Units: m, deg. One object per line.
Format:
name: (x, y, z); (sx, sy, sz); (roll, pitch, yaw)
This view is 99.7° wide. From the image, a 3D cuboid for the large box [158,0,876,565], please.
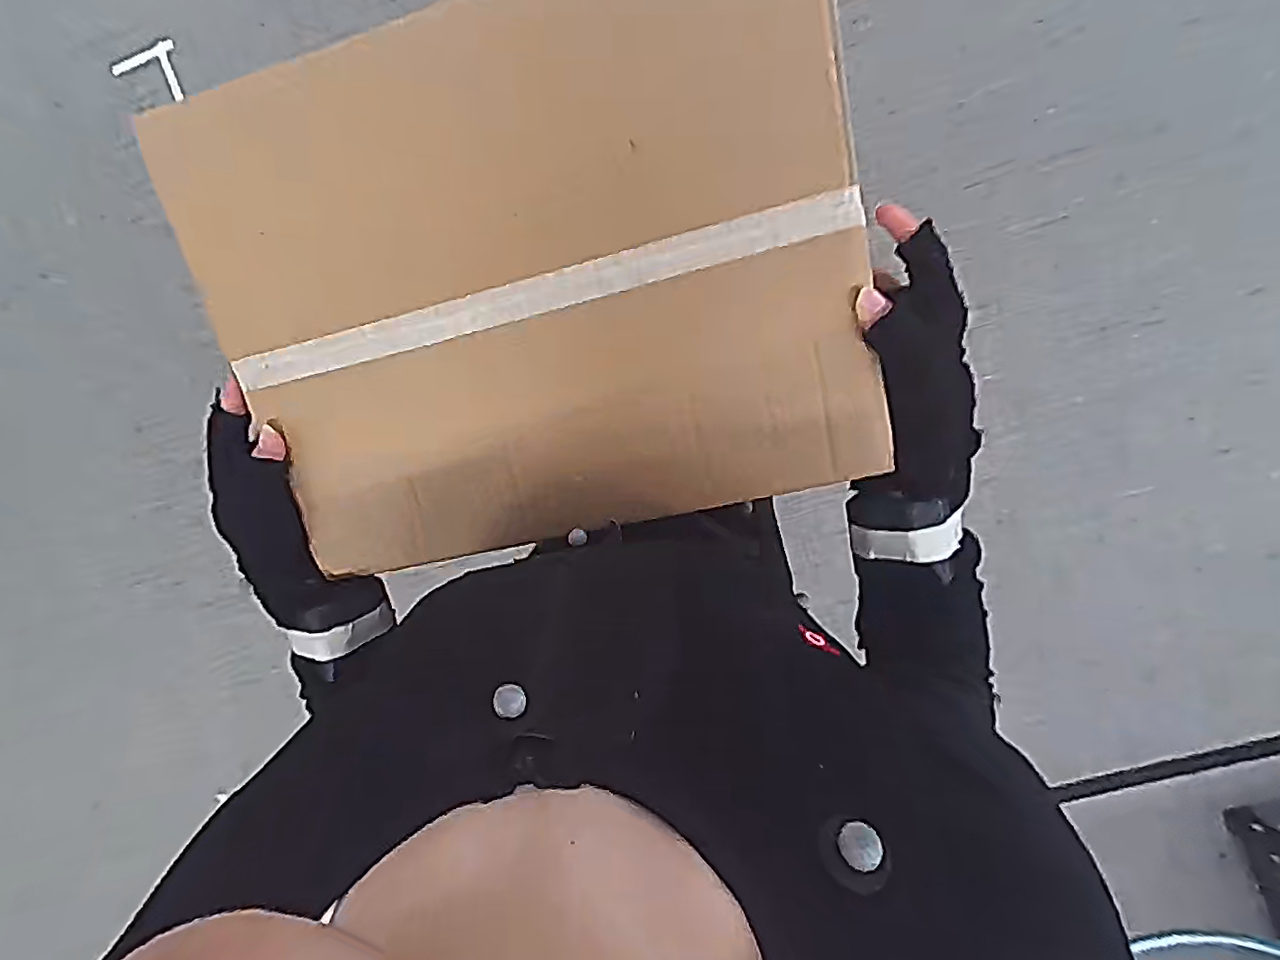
large box: (-0.059, -0.162, 0.483); (0.408, 0.320, 0.320); (-12, 104, 9)
